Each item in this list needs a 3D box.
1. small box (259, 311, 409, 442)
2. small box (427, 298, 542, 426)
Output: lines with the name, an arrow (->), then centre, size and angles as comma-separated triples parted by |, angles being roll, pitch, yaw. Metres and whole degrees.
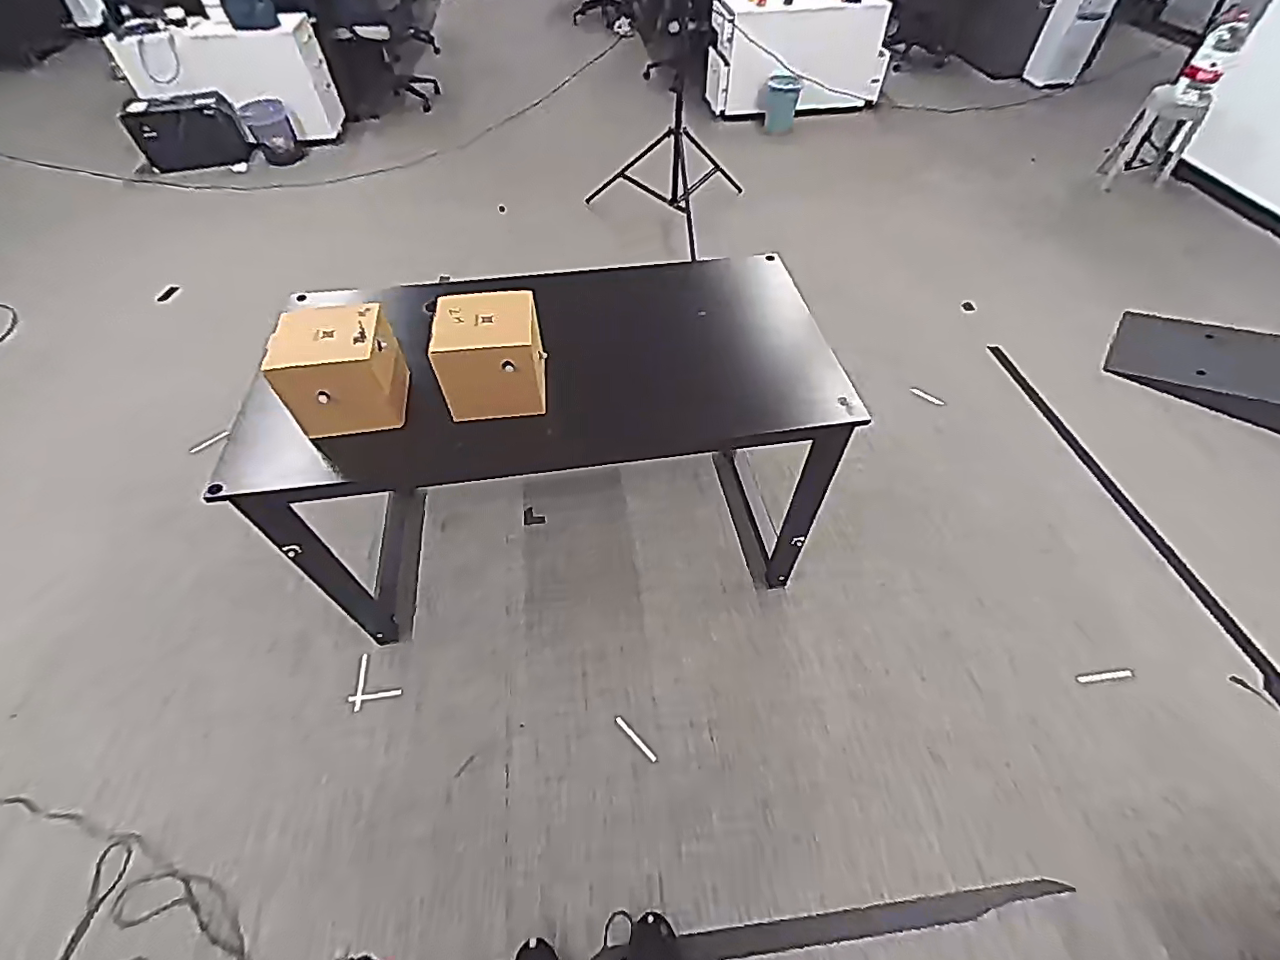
small box -> -0.553, -0.187, 1.006 | 0.179, 0.176, 0.168 | -9, 52, -6
small box -> -0.283, -0.221, 1.029 | 0.179, 0.176, 0.168 | -6, 51, -4
